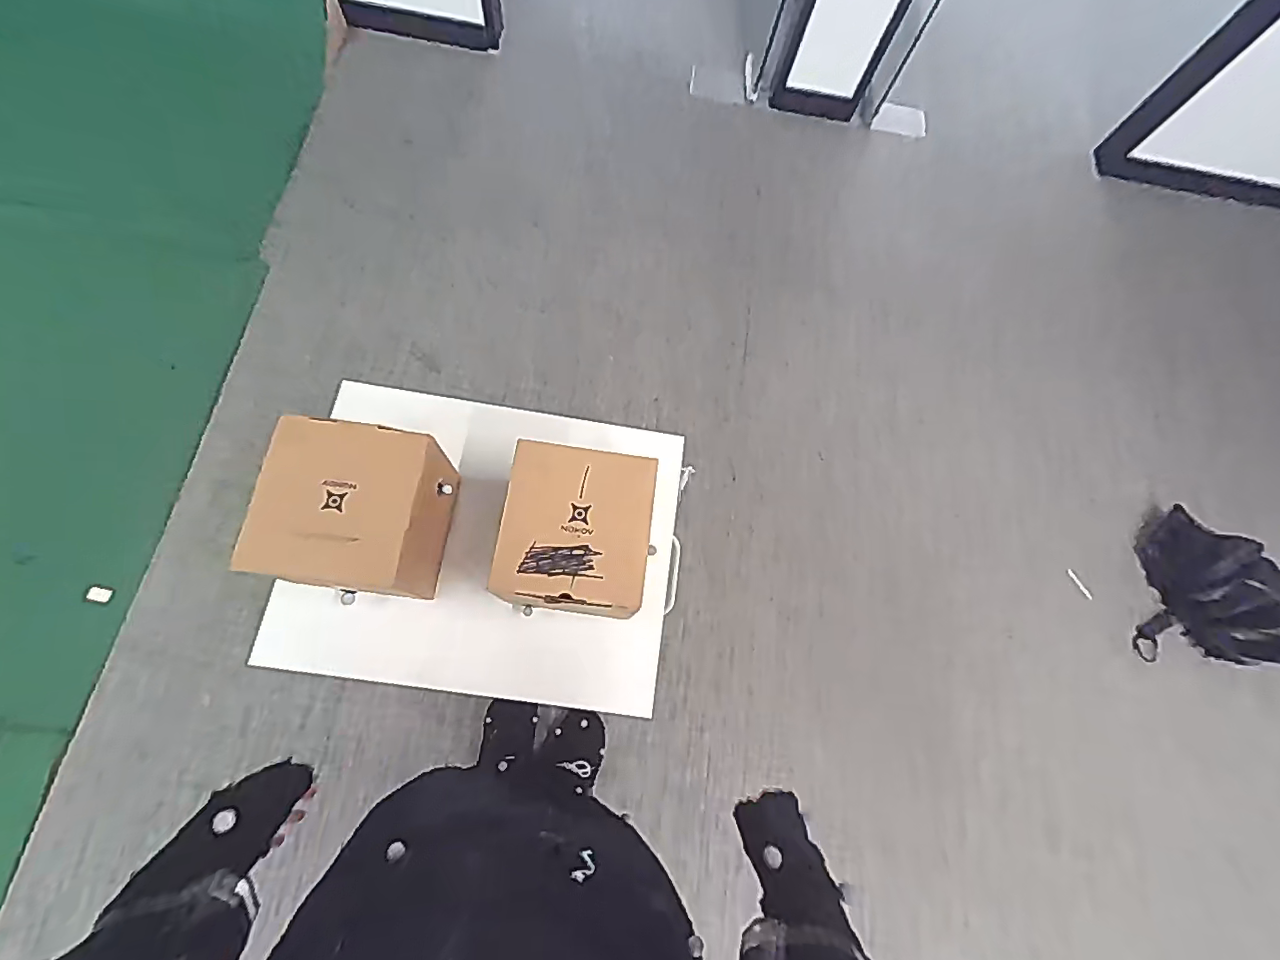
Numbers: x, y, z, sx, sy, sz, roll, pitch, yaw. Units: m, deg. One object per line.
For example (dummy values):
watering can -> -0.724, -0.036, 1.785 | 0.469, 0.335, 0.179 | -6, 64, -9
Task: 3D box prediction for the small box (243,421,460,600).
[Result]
small box -> -0.329, 0.047, 0.661 | 0.168, 0.176, 0.179 | 6, 74, -3
